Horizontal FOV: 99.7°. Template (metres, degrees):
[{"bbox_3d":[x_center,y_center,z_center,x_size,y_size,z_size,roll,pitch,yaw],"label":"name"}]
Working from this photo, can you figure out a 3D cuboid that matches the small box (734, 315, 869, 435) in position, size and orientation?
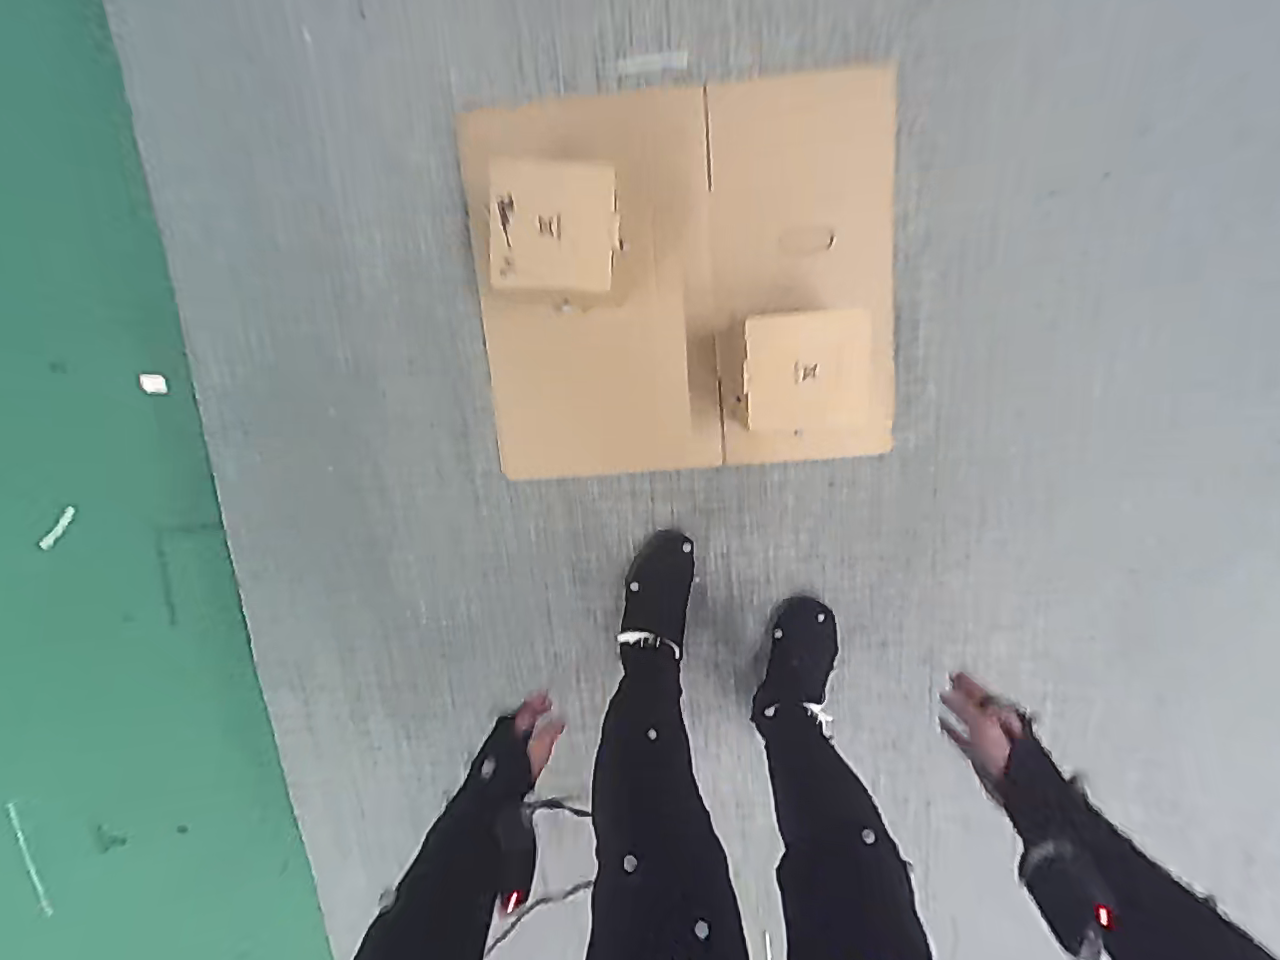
[{"bbox_3d":[0.242,-0.162,0.851,0.179,0.176,0.168,-3,101,3],"label":"small box"}]

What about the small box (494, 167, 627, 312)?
[{"bbox_3d":[-0.113,-0.355,0.827,0.179,0.176,0.168,4,101,1],"label":"small box"}]
